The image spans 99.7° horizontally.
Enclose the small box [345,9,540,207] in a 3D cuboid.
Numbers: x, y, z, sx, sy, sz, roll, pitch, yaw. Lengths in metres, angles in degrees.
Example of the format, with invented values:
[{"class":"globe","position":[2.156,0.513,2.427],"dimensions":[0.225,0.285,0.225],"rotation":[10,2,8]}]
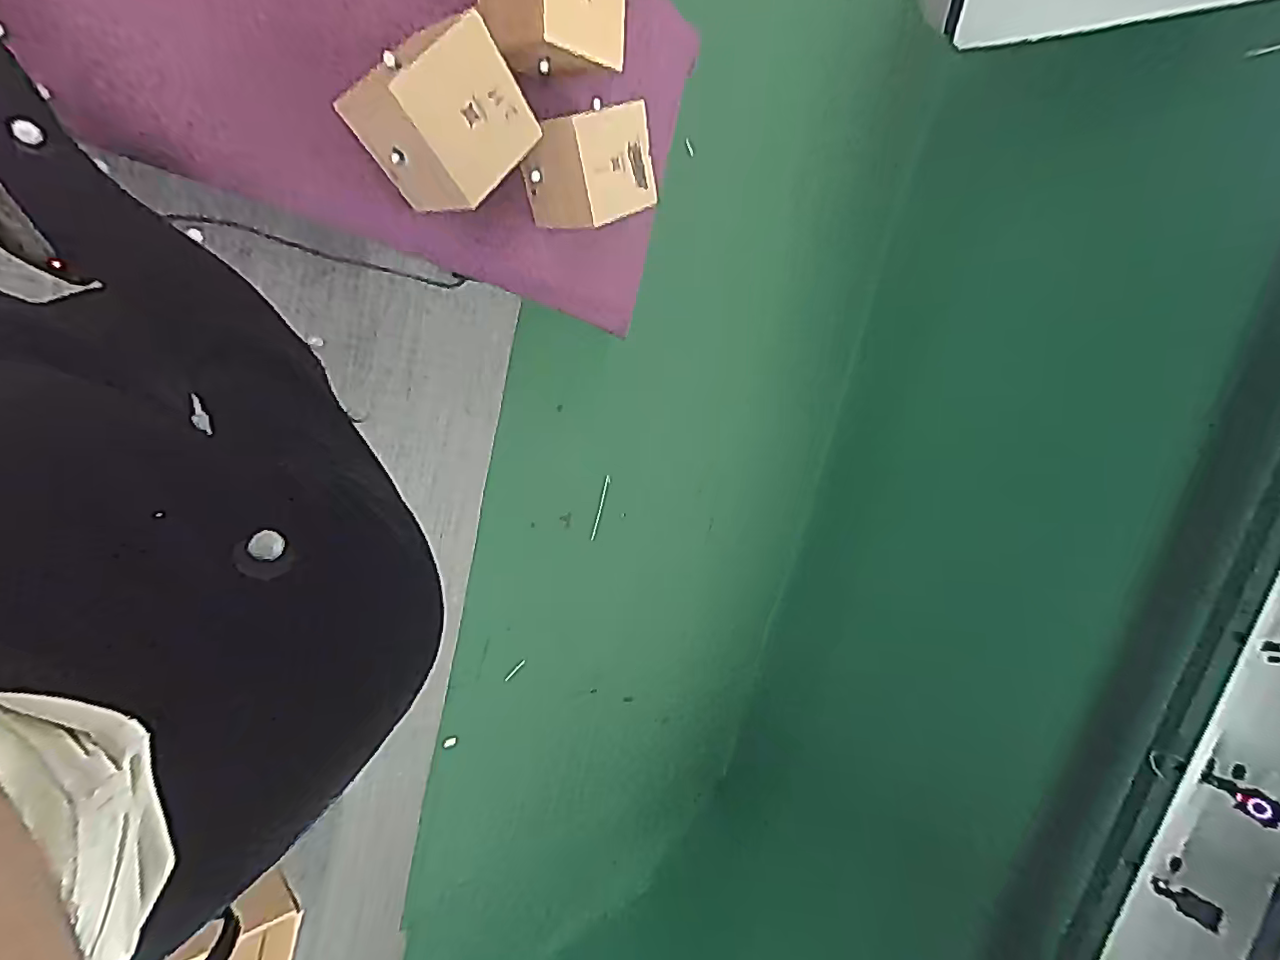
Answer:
[{"class":"small box","position":[-0.286,-0.517,0.775],"dimensions":[0.179,0.176,0.168],"rotation":[-56,142,-16]}]

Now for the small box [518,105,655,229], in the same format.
[{"class":"small box","position":[-0.100,-0.569,0.985],"dimensions":[0.179,0.176,0.168],"rotation":[-38,133,-32]}]

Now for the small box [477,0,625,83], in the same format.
[{"class":"small box","position":[-0.140,-0.753,0.847],"dimensions":[0.168,0.176,0.179],"rotation":[-20,122,-45]}]
